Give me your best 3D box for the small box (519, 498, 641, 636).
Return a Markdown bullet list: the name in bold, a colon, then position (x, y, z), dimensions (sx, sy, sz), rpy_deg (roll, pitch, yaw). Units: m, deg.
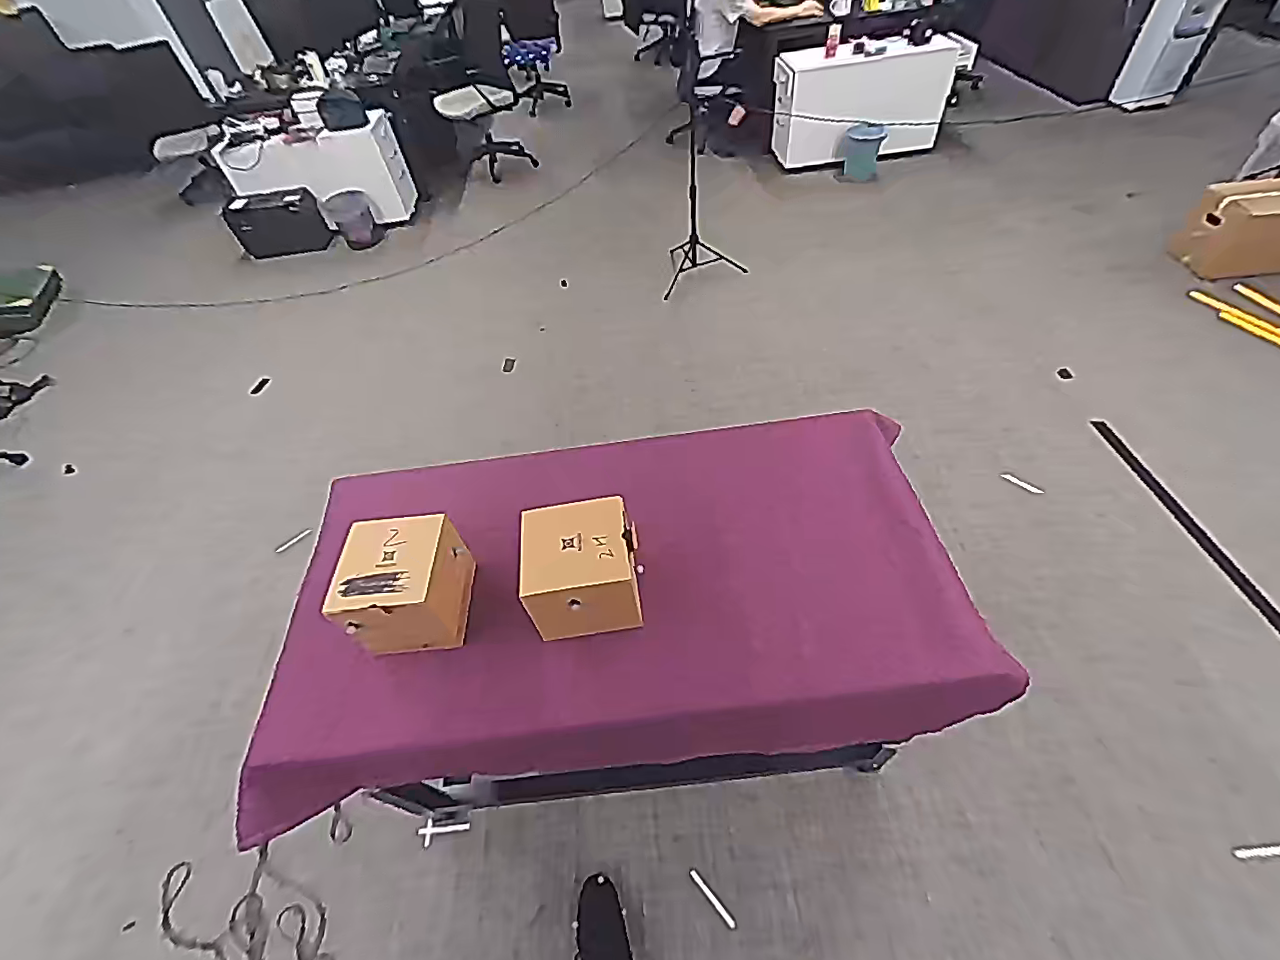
- **small box**: position (-0.100, 0.156, 0.937), dimensions (0.179, 0.176, 0.168), rpy_deg (-8, 50, 0)
